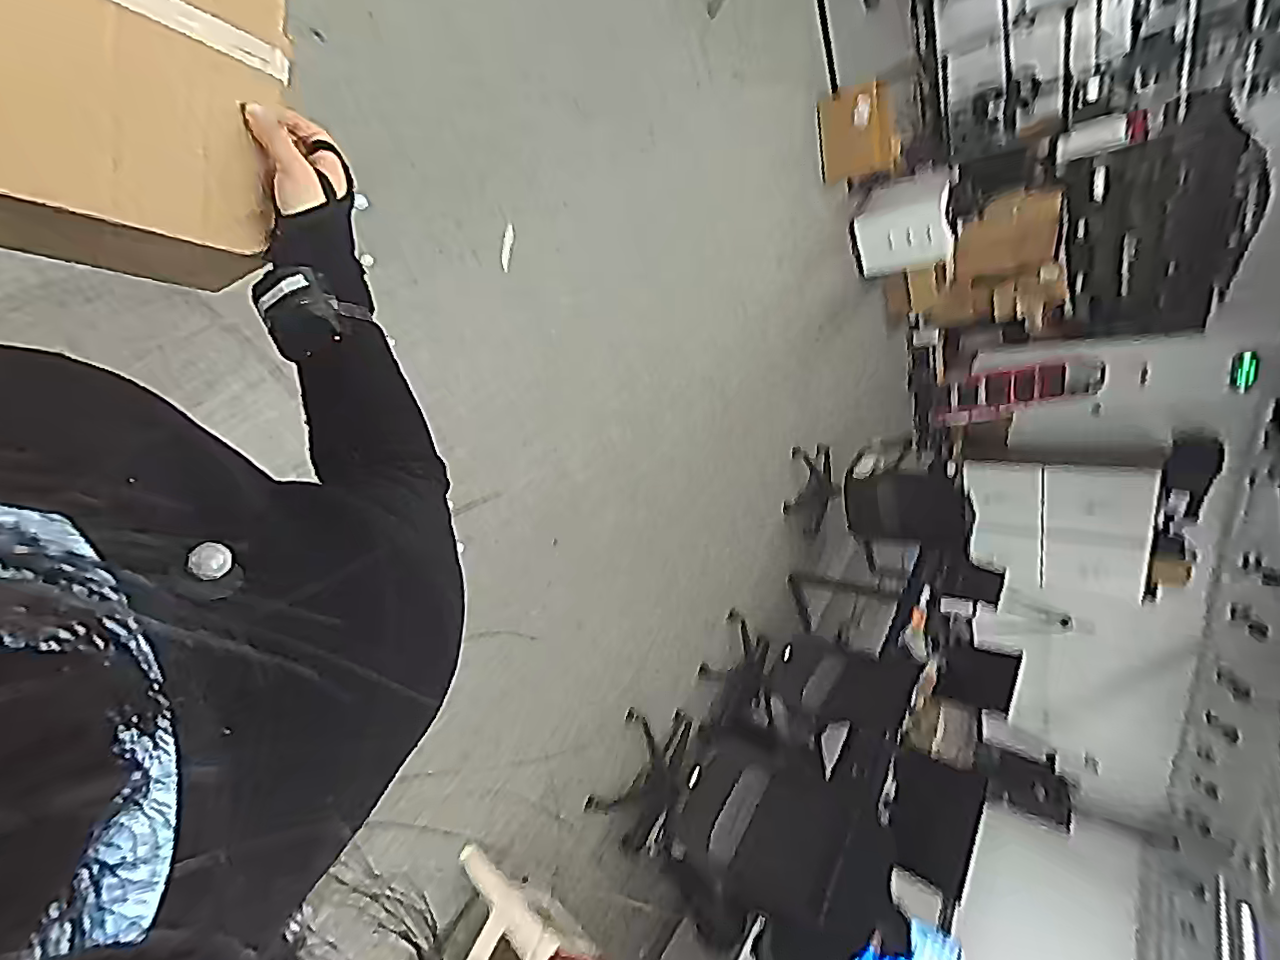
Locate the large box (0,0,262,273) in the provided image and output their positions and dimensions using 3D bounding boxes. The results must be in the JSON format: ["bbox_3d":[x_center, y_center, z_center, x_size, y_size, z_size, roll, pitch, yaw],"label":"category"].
[{"bbox_3d":[-0.558,-0.374,0.416,0.408,0.320,0.320,-1,99,-45],"label":"large box"}]
